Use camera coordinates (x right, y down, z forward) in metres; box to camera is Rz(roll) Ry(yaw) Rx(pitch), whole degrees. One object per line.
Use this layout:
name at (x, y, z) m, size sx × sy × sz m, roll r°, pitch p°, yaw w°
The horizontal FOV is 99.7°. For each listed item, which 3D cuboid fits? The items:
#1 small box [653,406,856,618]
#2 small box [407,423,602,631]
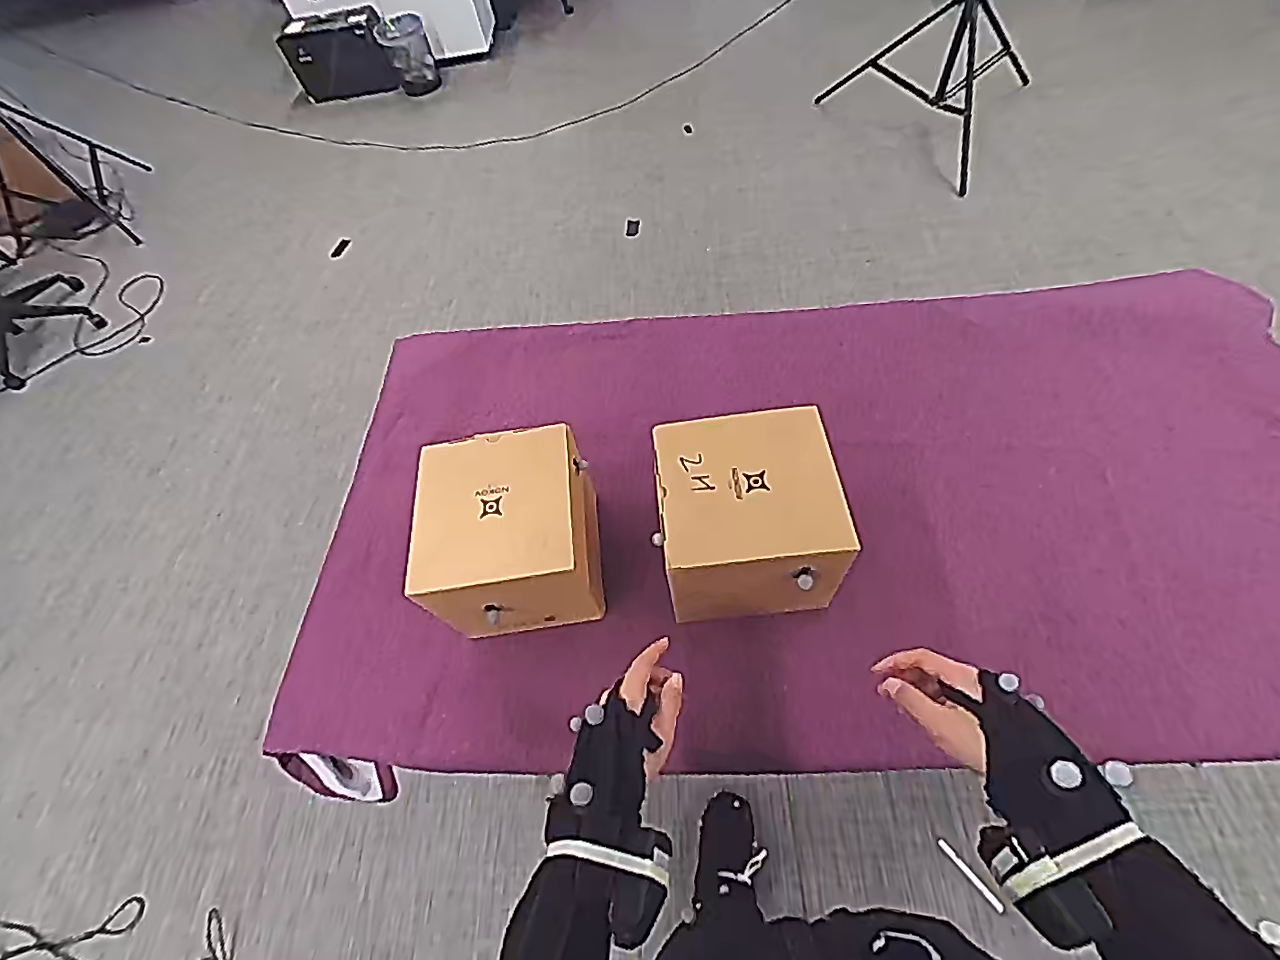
small box at (0.112, 0.042, 0.595) m, size 0.179 × 0.176 × 0.168 m, roll -7°, pitch 58°, yaw 4°
small box at (-0.142, 0.064, 0.621) m, size 0.168 × 0.176 × 0.179 m, roll -10°, pitch 58°, yaw 2°
